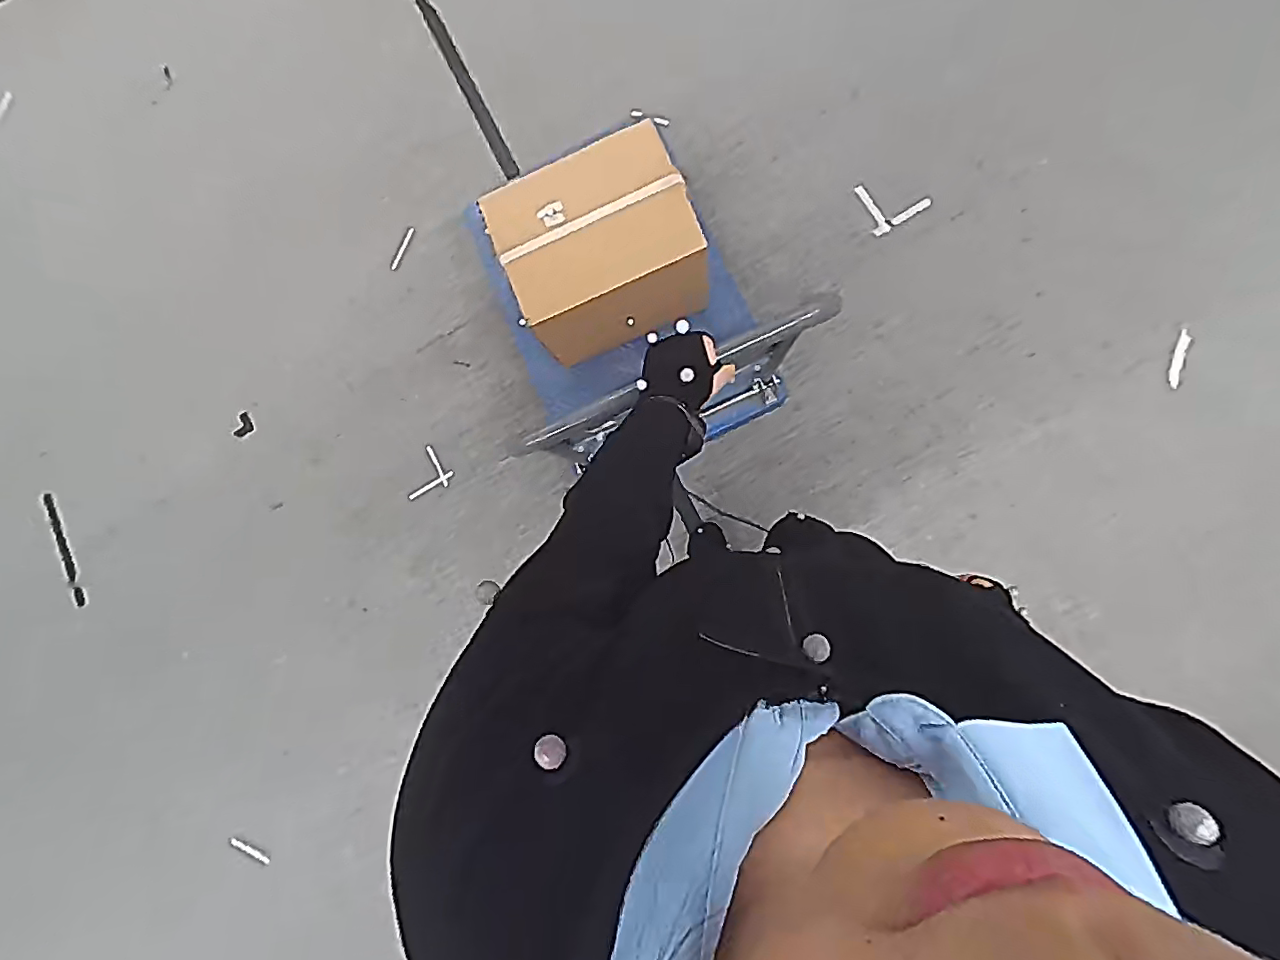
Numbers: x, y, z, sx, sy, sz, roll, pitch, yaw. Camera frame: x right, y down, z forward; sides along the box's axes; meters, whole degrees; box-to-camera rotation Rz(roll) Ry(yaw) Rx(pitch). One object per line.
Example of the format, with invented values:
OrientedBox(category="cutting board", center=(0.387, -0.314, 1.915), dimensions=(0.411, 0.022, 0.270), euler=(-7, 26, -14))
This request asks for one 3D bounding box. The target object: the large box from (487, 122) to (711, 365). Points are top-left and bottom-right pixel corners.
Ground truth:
OrientedBox(category="large box", center=(-0.075, -0.524, 1.279), dimensions=(0.408, 0.320, 0.320), euler=(-23, 82, 6))
